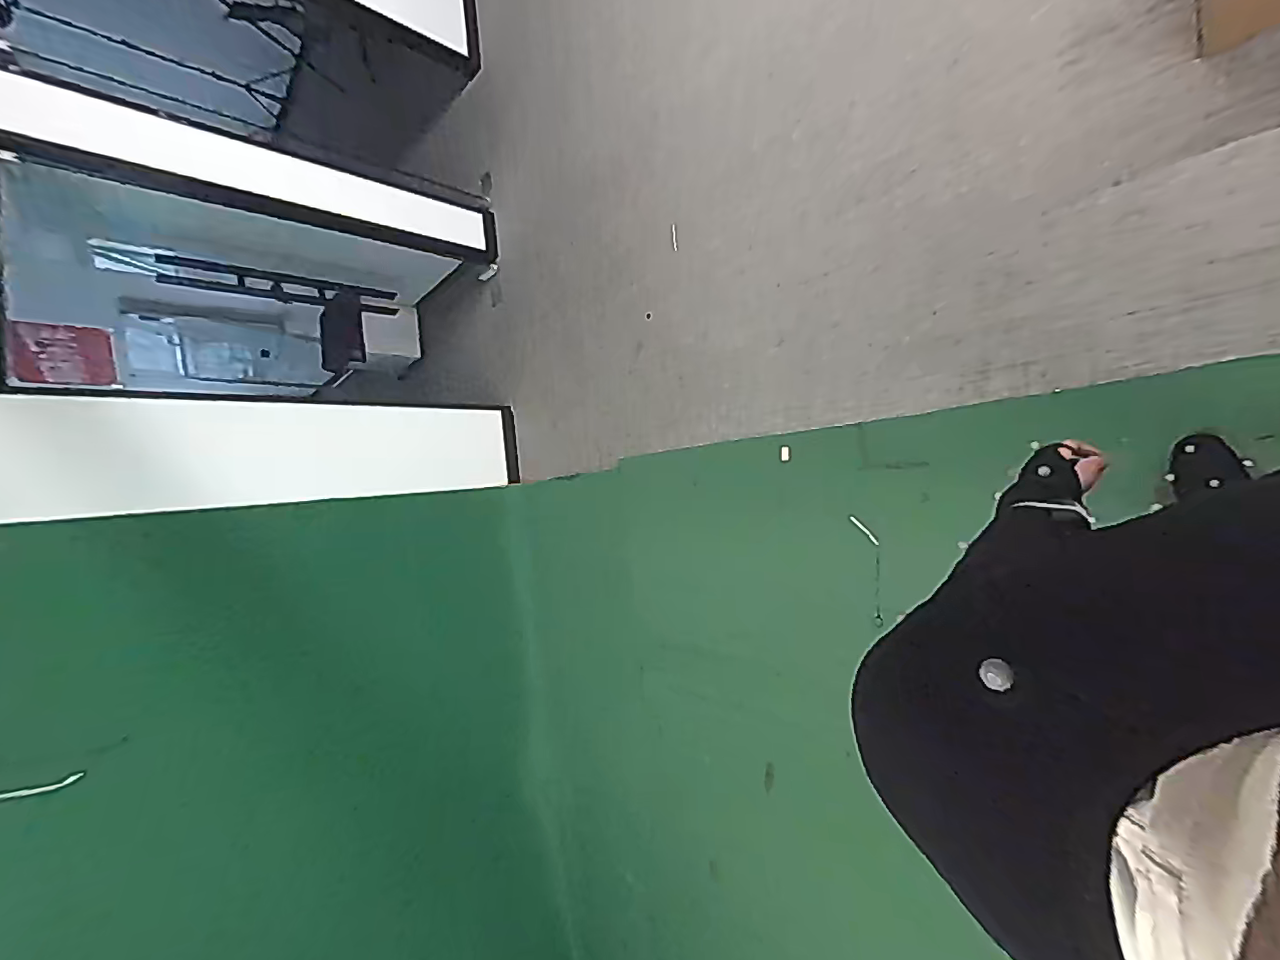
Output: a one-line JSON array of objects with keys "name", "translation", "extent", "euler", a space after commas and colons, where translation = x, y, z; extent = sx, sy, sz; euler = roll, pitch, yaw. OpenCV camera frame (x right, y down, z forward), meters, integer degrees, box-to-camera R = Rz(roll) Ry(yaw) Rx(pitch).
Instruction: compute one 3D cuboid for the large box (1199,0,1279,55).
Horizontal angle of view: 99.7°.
[{"name": "large box", "translation": [1.210, -1.053, 0.904], "extent": [0.408, 0.320, 0.320], "euler": [-9, 85, 48]}]
